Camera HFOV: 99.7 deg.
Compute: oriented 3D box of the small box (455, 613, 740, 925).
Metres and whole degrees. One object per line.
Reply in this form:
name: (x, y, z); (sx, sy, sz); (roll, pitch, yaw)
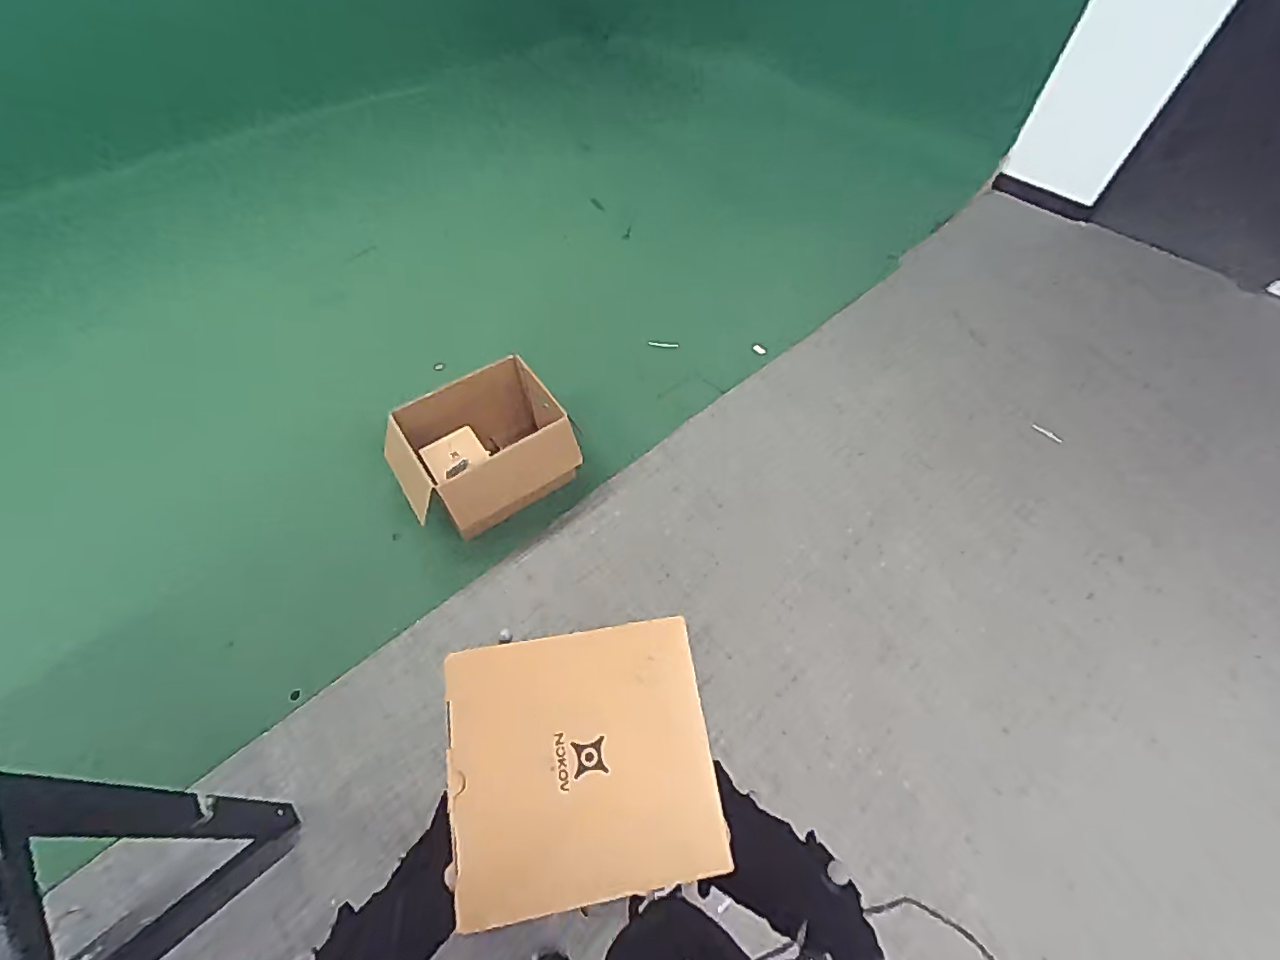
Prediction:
small box: (-0.039, 0.209, 0.437); (0.179, 0.176, 0.168); (-8, 70, -8)
